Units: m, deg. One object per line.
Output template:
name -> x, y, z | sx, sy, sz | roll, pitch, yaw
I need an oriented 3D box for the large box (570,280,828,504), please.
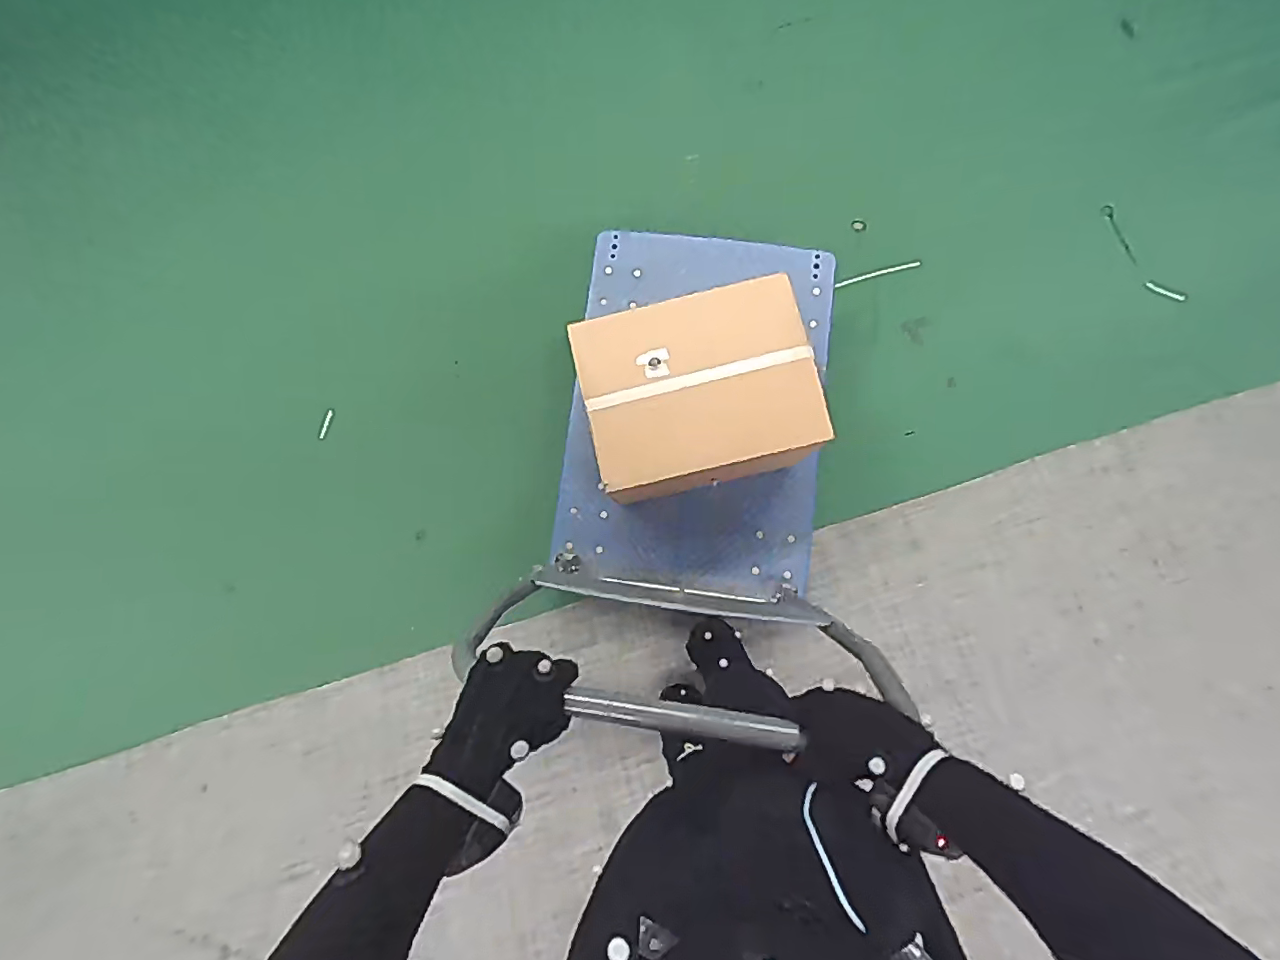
large box -> 0.110, -0.150, 1.105 | 0.408, 0.320, 0.320 | -14, 82, 2
